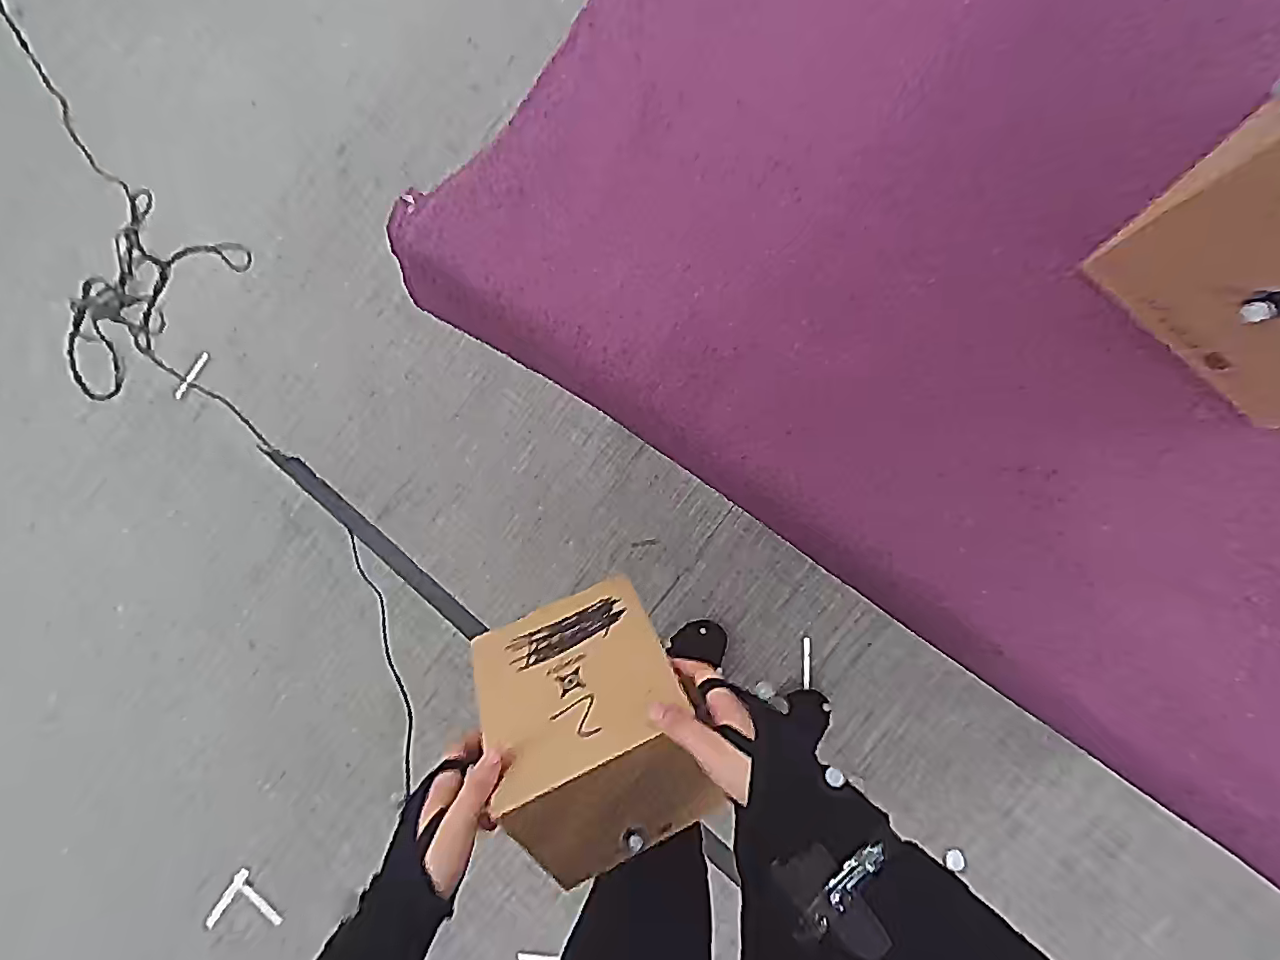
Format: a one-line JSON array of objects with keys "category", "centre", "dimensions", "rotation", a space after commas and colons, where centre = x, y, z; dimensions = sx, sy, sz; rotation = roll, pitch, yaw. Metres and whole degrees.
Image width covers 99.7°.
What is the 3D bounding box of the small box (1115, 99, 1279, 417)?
[{"category": "small box", "centre": [0.428, -0.155, 0.300], "dimensions": [0.179, 0.176, 0.168], "rotation": [-42, 83, 5]}]
